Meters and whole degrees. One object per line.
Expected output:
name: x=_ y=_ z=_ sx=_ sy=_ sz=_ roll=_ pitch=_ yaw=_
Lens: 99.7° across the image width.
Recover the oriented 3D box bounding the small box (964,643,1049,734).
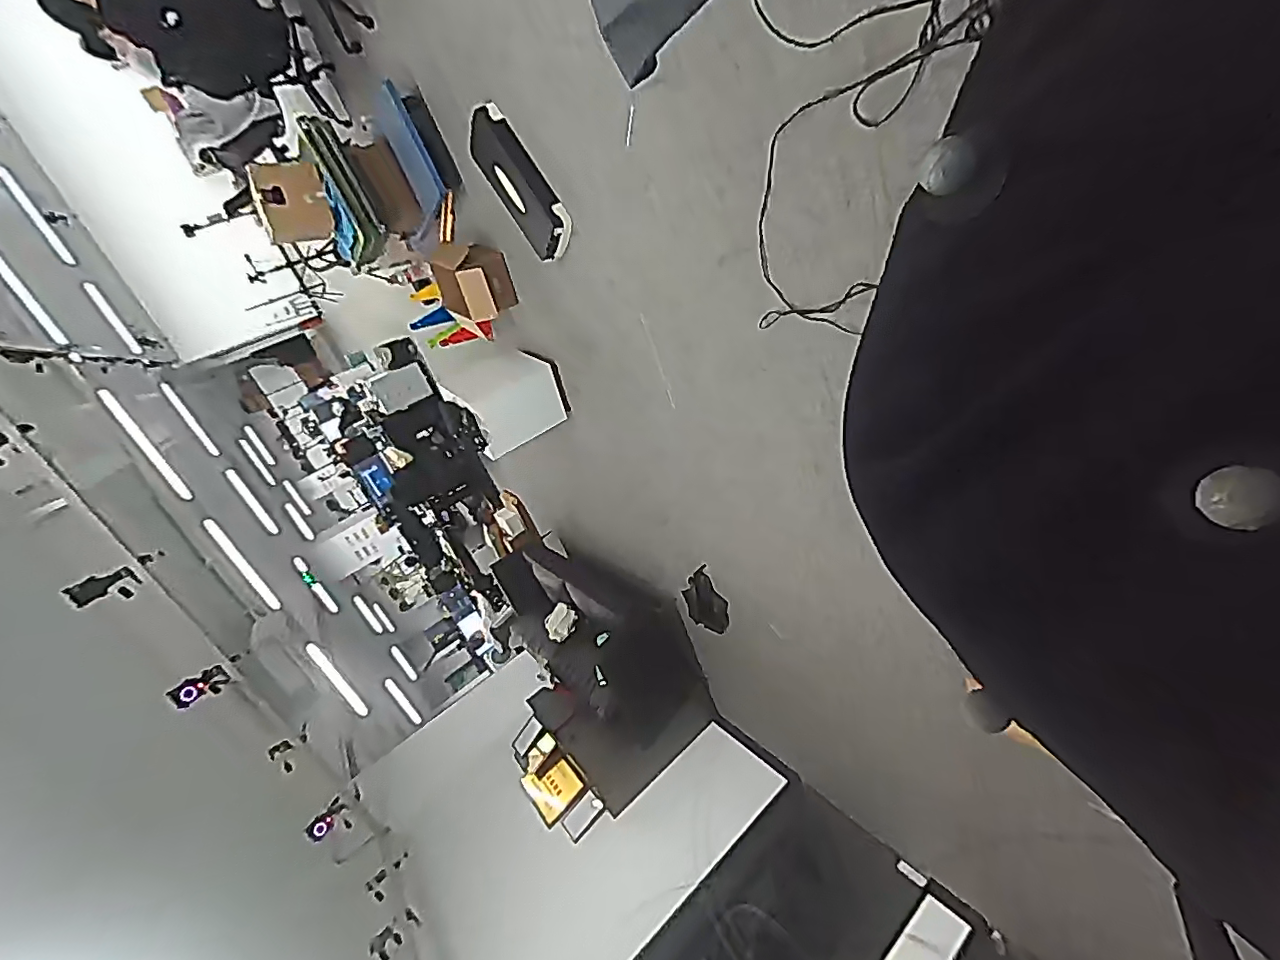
small box: x=1.161 y=0.649 z=1.706 sx=0.179 sy=0.176 sz=0.168 roll=17 pitch=135 yaw=55
